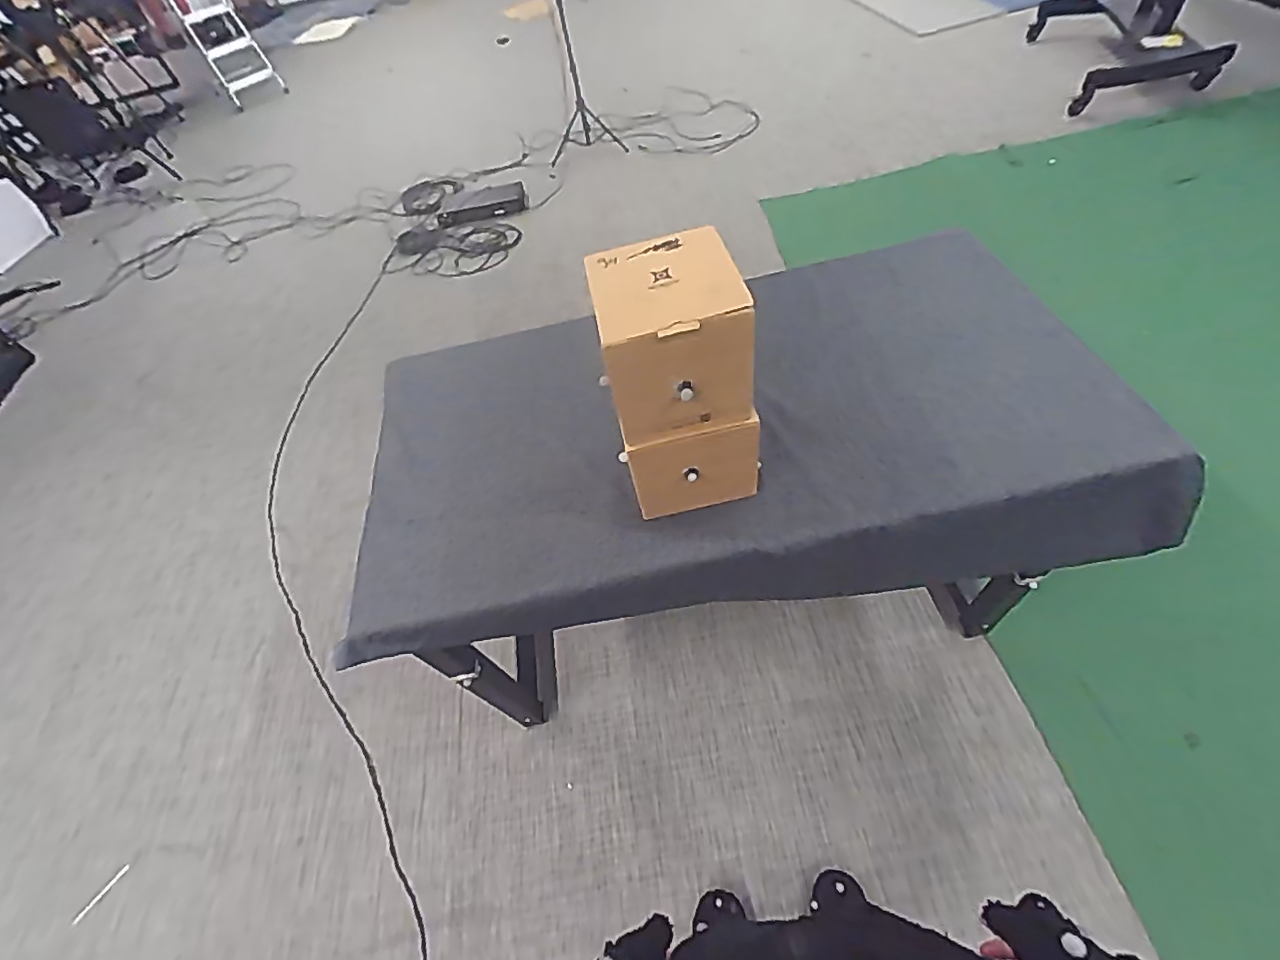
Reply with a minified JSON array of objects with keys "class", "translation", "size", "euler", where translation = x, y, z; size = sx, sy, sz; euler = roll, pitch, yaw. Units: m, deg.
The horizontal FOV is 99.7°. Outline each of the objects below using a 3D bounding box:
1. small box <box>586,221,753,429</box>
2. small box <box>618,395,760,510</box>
[{"class":"small box","translation":[0.039,-0.182,0.671],"size":[0.168,0.176,0.179],"euler":[-13,54,1]},{"class":"small box","translation":[0.067,-0.078,0.794],"size":[0.179,0.176,0.168],"euler":[-13,53,2]}]
